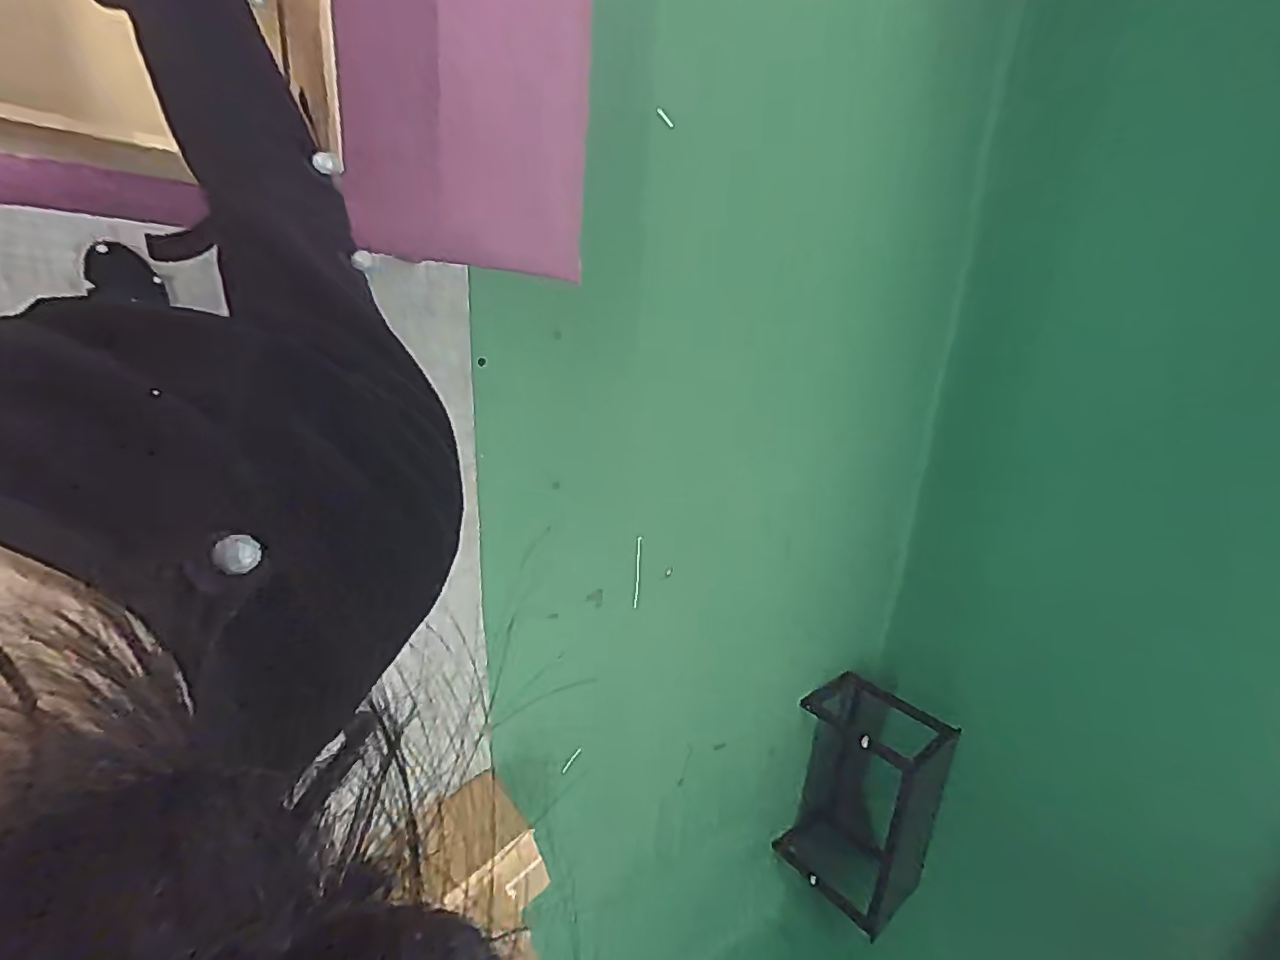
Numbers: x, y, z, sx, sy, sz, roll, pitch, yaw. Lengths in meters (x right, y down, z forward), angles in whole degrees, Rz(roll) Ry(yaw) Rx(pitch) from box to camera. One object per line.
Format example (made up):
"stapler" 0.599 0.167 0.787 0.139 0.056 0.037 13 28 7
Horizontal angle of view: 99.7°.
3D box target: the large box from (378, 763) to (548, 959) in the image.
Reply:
"large box" -0.586 1.267 1.811 0.408 0.320 0.320 -27 122 -33

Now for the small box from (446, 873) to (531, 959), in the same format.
"small box" -0.452 1.340 1.617 0.179 0.176 0.168 -23 117 -33

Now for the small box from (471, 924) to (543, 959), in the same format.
"small box" -0.357 1.389 1.493 0.168 0.176 0.179 -21 117 -34
